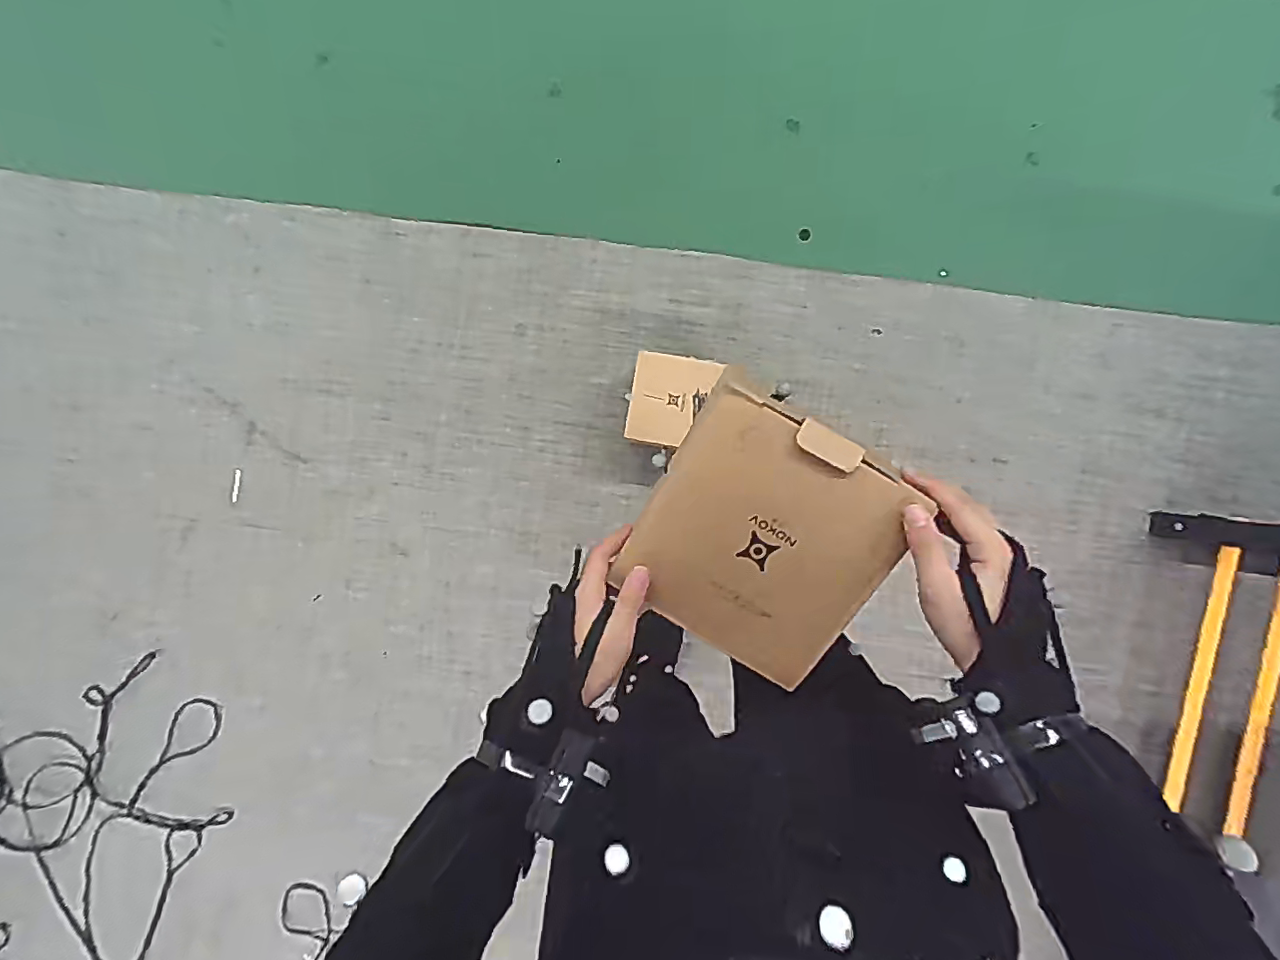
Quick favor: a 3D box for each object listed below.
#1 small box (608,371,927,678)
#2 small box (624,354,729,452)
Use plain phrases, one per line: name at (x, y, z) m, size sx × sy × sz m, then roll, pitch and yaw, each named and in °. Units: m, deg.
small box at (0.096, 0.020, 0.464) m, size 0.168 × 0.176 × 0.179 m, roll 31°, pitch 108°, yaw 1°
small box at (0.072, -0.139, 1.070) m, size 0.179 × 0.176 × 0.168 m, roll 10°, pitch 92°, yaw 2°
